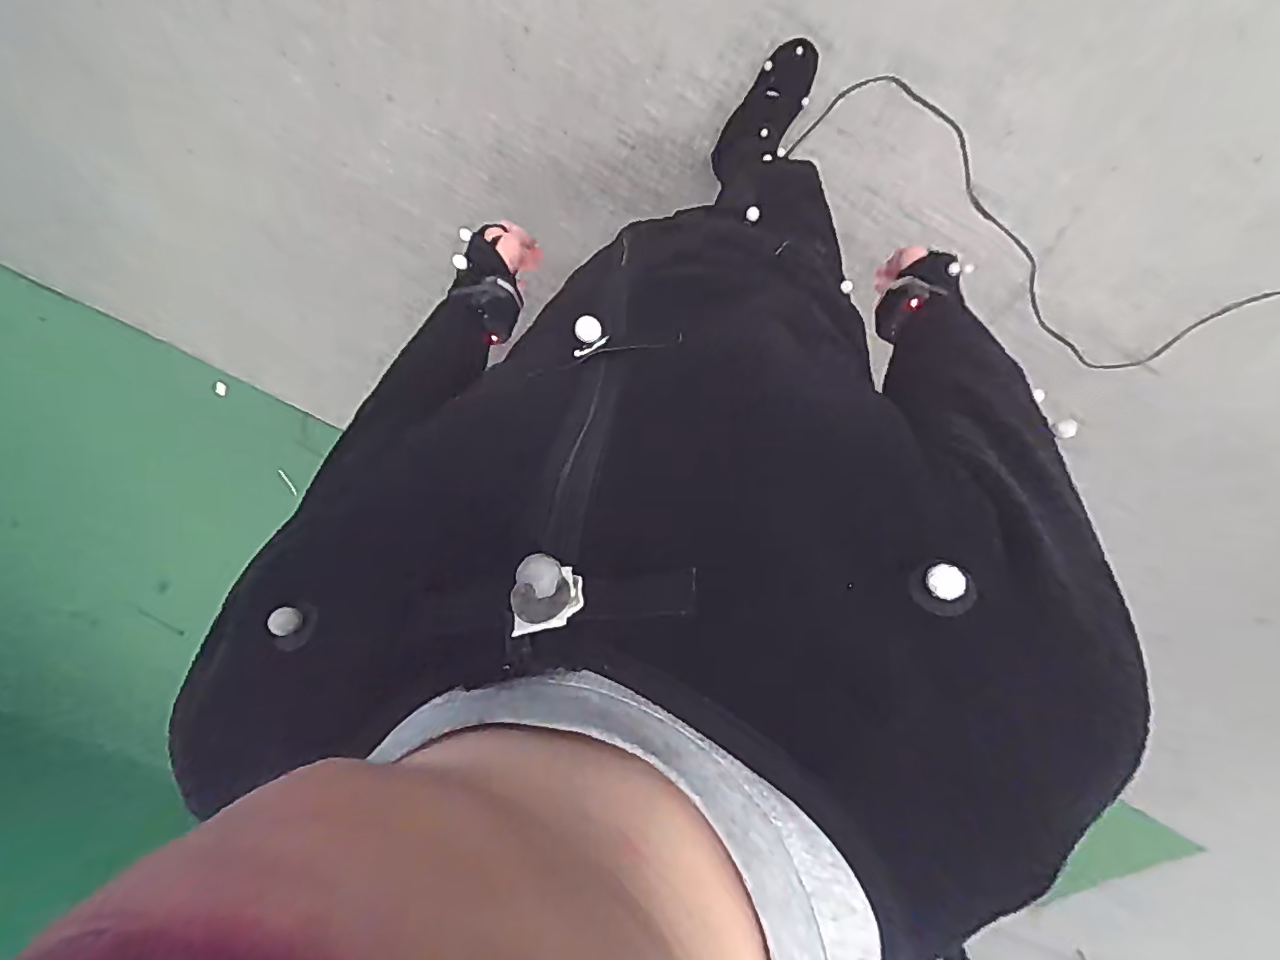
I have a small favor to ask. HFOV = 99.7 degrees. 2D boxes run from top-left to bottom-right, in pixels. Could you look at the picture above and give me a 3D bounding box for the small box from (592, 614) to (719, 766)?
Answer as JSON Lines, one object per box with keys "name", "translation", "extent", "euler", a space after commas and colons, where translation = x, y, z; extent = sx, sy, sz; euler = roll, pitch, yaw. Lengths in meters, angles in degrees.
{"name": "small box", "translation": [0.033, 0.379, 0.991], "extent": [0.168, 0.176, 0.179], "euler": [26, 124, -6]}
